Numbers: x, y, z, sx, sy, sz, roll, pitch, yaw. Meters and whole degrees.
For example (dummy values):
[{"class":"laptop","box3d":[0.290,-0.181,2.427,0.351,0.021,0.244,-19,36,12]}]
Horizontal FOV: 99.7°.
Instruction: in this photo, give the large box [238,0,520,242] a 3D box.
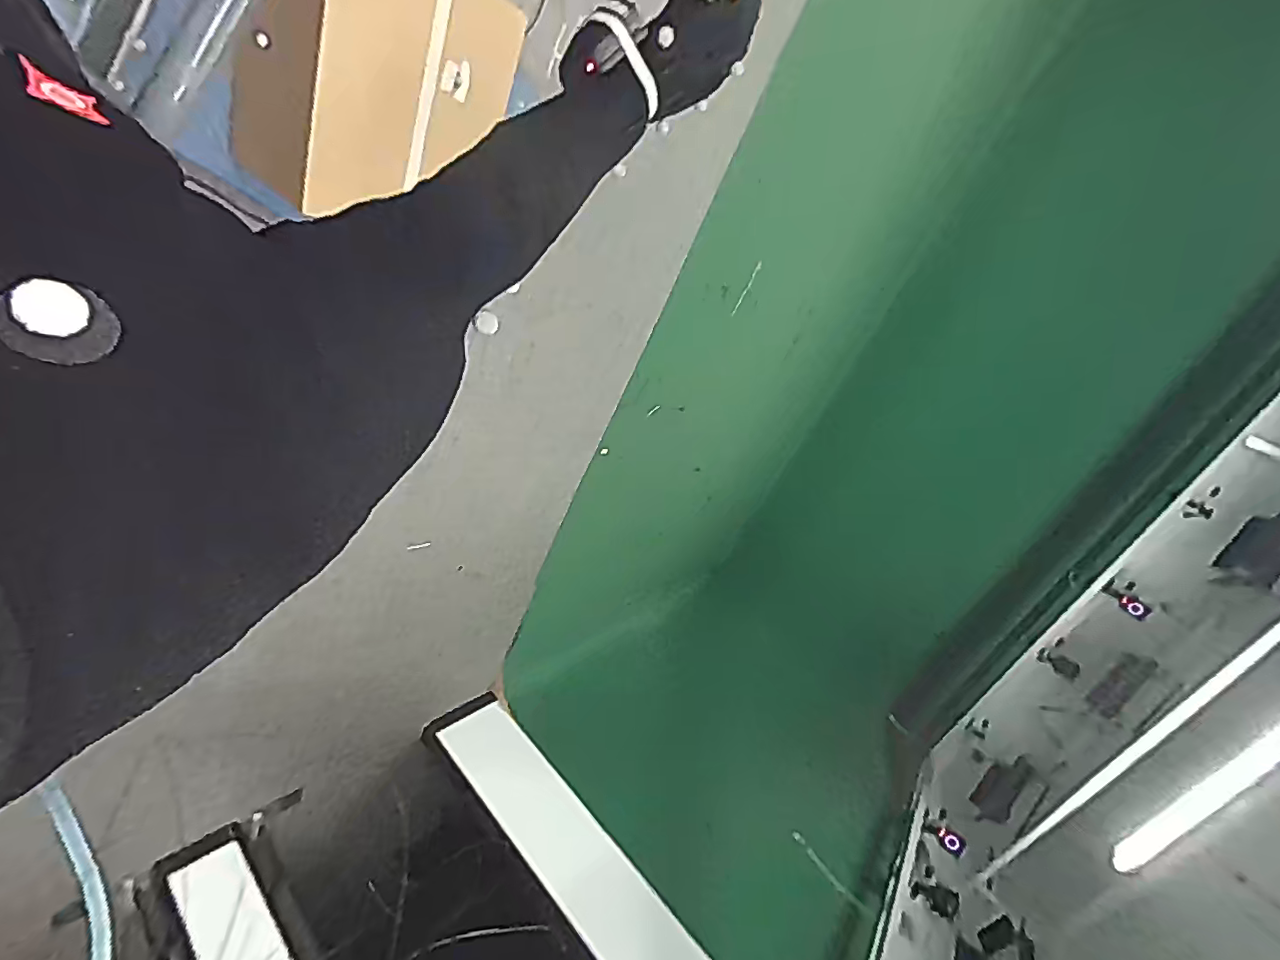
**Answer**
[{"class":"large box","box3d":[-0.470,-0.699,0.951,0.320,0.320,0.408,-13,135,-52]}]
